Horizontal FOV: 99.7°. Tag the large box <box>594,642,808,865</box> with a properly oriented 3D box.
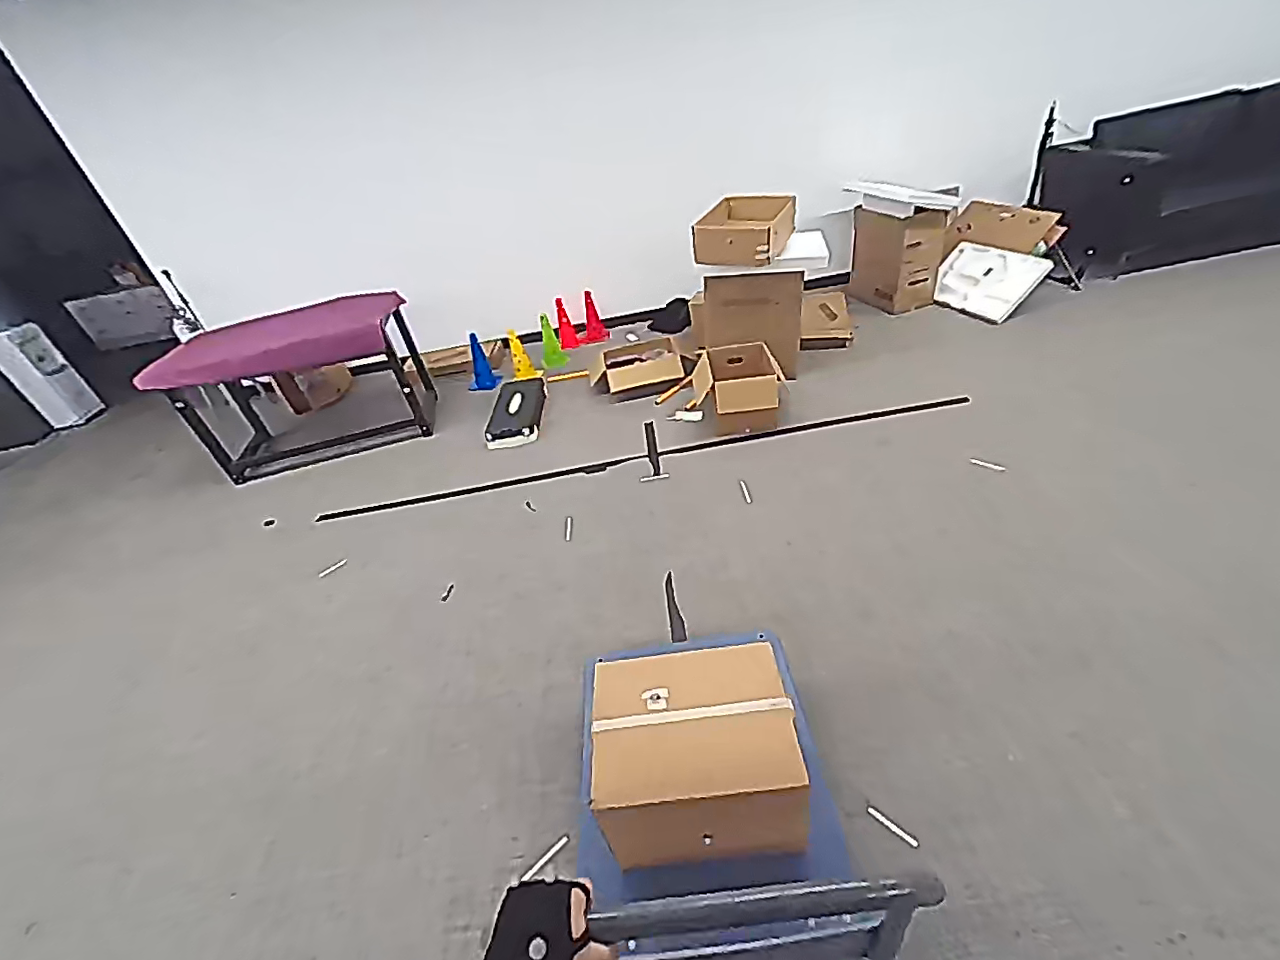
[{"bbox_3d":[0.130,0.607,1.204,0.408,0.320,0.320,-10,35,4],"label":"large box"}]
